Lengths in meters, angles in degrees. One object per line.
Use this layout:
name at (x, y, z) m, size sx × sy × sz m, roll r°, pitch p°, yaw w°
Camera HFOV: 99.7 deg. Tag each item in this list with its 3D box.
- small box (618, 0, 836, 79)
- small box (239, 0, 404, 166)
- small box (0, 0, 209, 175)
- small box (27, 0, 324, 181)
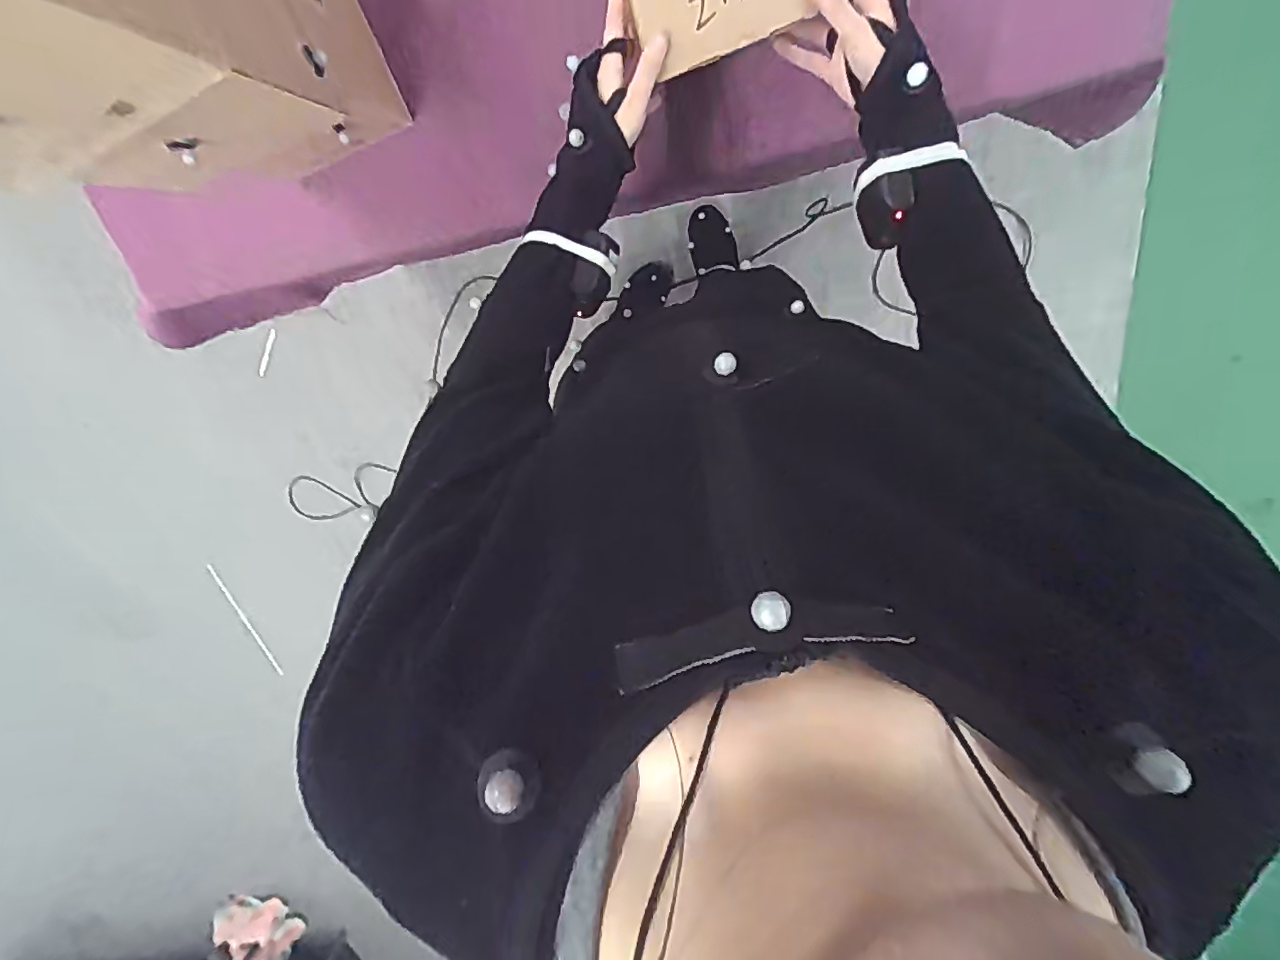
small box at (0.050, -0.476, 0.438) m, size 0.168 × 0.176 × 0.179 m, roll -15°, pitch 141°, yaw 9°
small box at (-0.361, -0.420, 0.514) m, size 0.168 × 0.176 × 0.179 m, roll -17°, pitch 112°, yaw 8°
small box at (-0.353, -0.253, 0.231) m, size 0.168 × 0.176 × 0.179 m, roll -21°, pitch 112°, yaw 10°
small box at (-0.361, -0.329, 0.375) m, size 0.179 × 0.176 × 0.168 m, roll -17°, pitch 113°, yaw 9°
